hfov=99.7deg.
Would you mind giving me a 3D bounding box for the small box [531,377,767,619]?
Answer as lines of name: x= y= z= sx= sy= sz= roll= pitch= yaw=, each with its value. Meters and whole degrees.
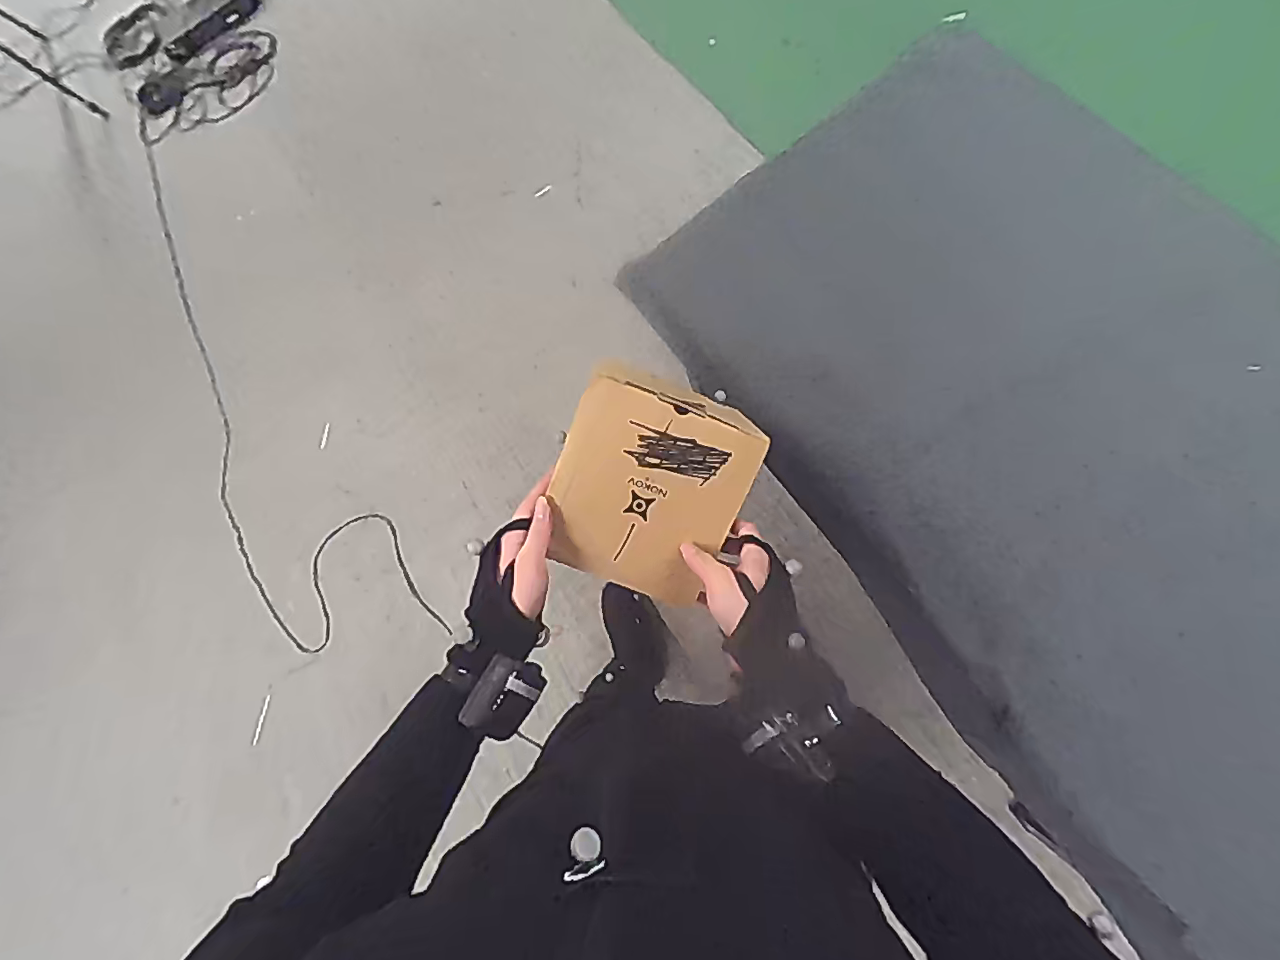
small box: x=0.005 y=0.005 z=0.558 sx=0.168 sy=0.176 sz=0.179 roll=21 pitch=105 yaw=-5
